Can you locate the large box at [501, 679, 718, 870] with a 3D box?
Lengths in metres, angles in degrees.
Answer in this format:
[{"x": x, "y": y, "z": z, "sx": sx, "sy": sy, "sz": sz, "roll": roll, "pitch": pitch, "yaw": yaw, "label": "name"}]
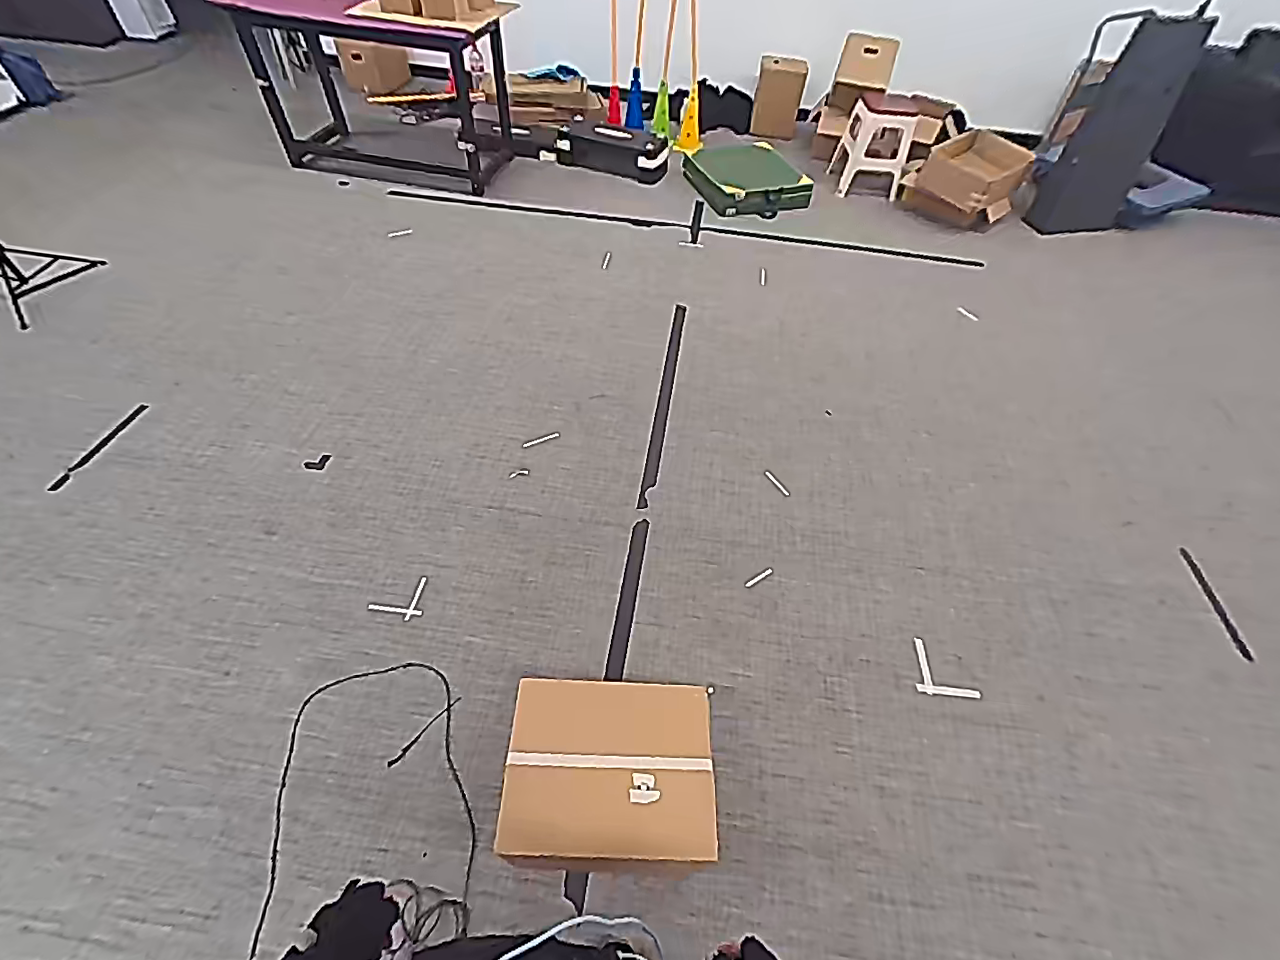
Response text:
[{"x": -0.065, "y": 0.650, "z": 1.183, "sx": 0.408, "sy": 0.320, "sz": 0.320, "roll": 4, "pitch": 51, "yaw": -3, "label": "large box"}]
